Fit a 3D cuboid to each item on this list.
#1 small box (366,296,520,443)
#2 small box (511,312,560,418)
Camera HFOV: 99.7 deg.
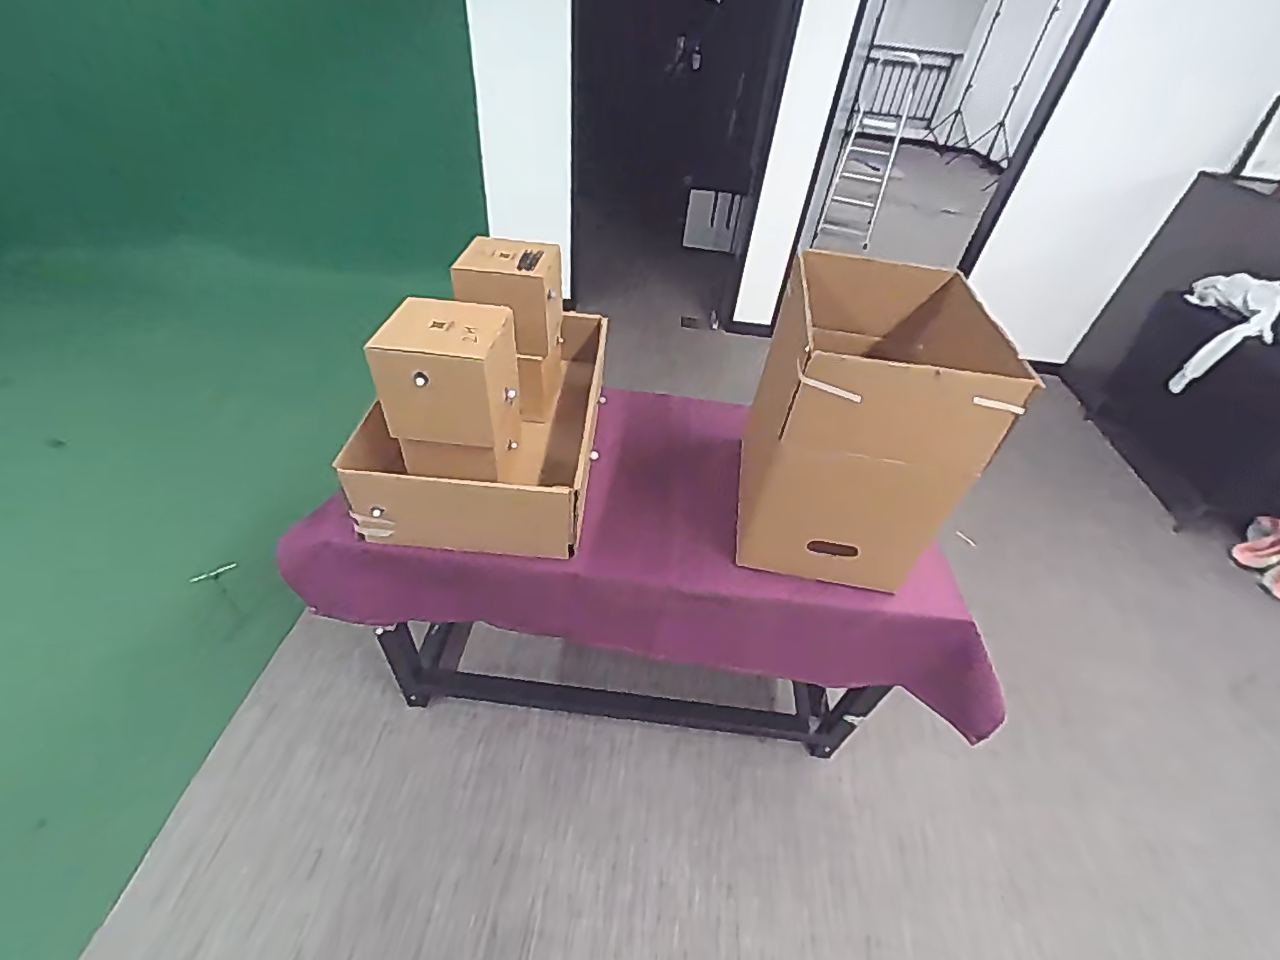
[{"bbox_3d":[-0.306,-0.179,0.882,0.179,0.176,0.168,7,44,1],"label":"small box"},{"bbox_3d":[-0.275,-0.259,1.211,0.168,0.176,0.179,7,44,1],"label":"small box"}]
